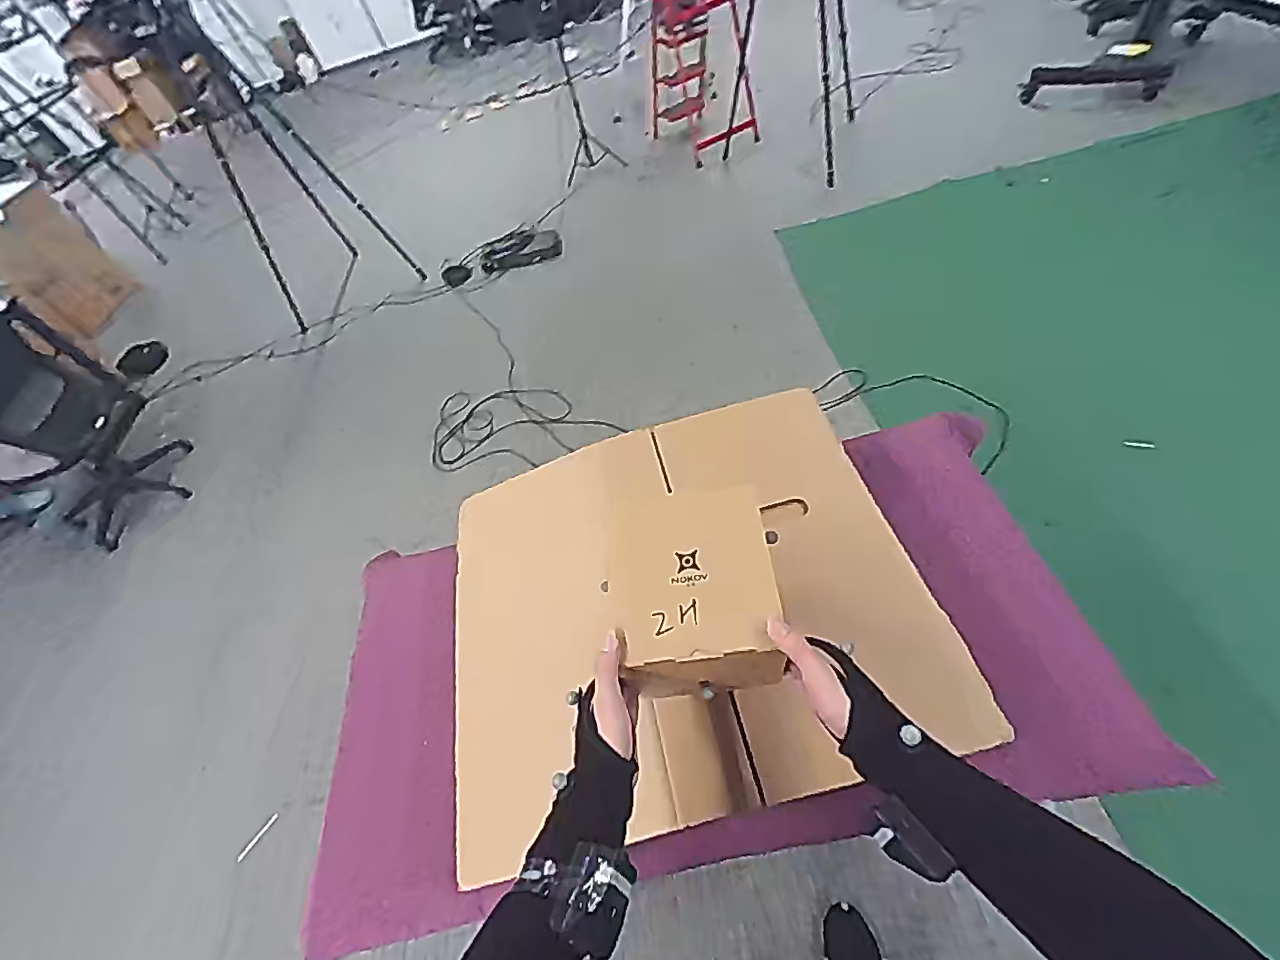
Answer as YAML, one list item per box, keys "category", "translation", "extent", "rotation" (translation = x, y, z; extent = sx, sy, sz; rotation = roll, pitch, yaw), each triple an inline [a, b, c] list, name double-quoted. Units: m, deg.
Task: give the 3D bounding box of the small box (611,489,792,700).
- category: "small box"
  translation: [0.065, 0.133, 0.600]
  extent: [0.168, 0.176, 0.179]
  rotation: [-8, 58, 7]
